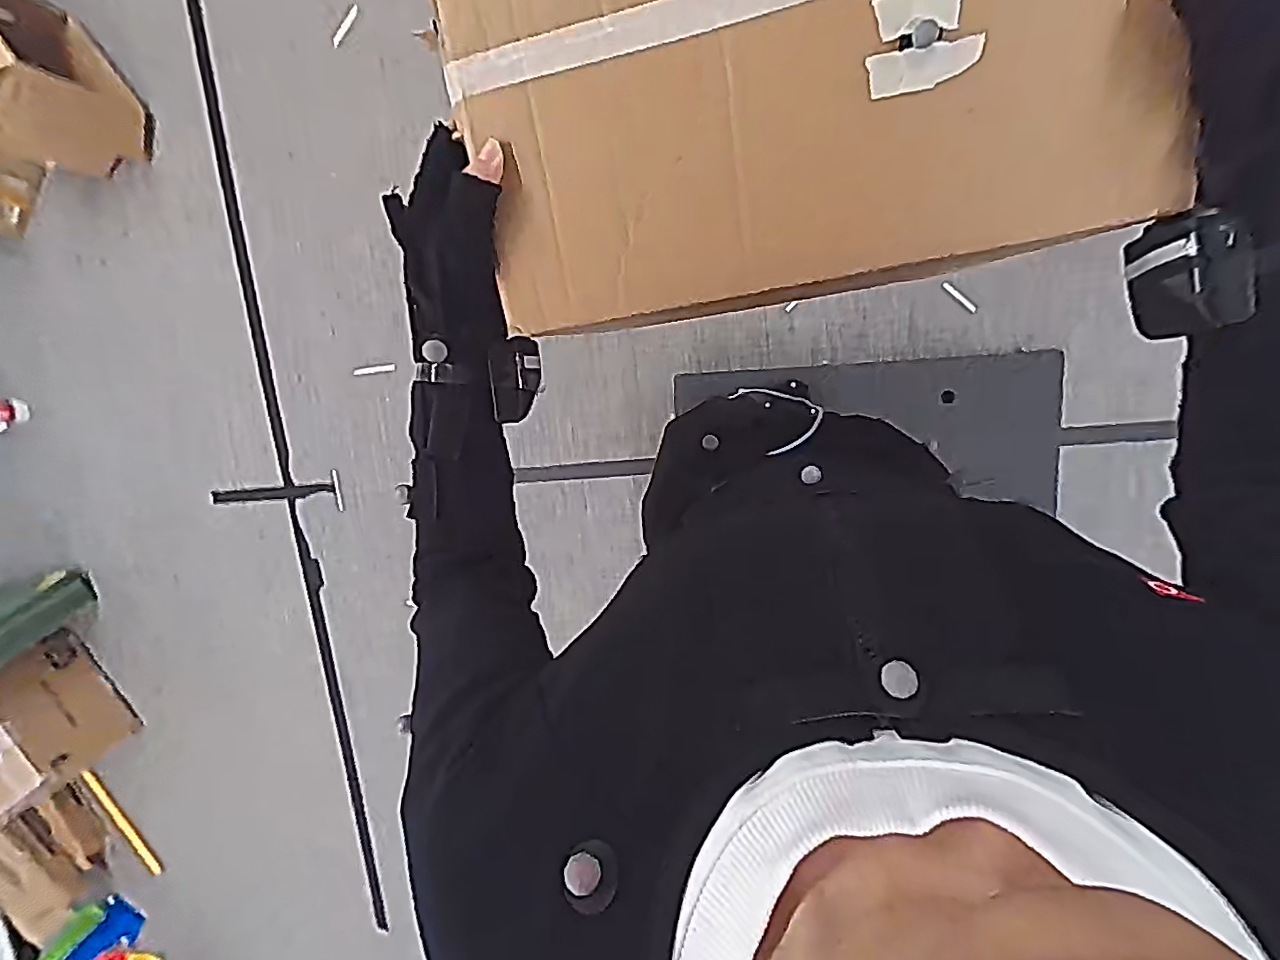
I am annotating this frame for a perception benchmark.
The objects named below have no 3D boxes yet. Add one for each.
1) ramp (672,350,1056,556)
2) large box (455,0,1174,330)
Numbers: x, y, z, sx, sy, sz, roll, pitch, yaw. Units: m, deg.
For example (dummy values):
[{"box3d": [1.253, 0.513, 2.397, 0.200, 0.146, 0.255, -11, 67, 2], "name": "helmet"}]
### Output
[{"box3d": [0.593, -0.068, 1.437, 0.991, 0.206, 0.509, -4, 96, 12], "name": "ramp"}, {"box3d": [0.104, -0.319, 0.456, 0.408, 0.320, 0.320, -7, 105, 10], "name": "large box"}]
